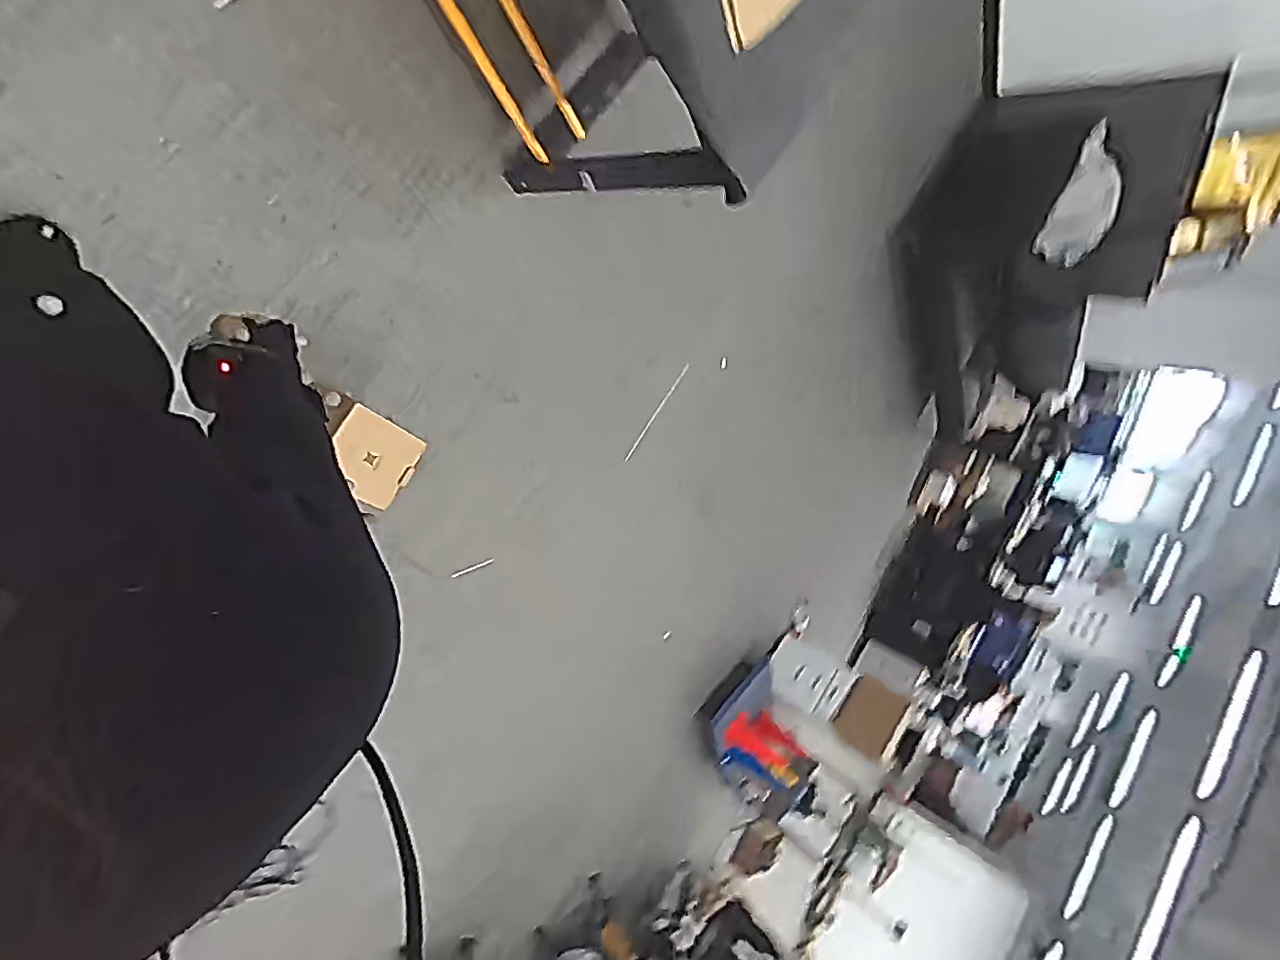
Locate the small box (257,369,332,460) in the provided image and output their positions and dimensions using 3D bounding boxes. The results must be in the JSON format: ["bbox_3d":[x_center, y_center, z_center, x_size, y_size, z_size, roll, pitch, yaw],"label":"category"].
[{"bbox_3d":[-0.712,-0.125,1.207,0.179,0.176,0.168,-59,141,-8],"label":"small box"}]

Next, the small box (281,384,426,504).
[{"bbox_3d":[-0.588,-0.078,1.111,0.168,0.176,0.179,-60,141,-8],"label":"small box"}]
